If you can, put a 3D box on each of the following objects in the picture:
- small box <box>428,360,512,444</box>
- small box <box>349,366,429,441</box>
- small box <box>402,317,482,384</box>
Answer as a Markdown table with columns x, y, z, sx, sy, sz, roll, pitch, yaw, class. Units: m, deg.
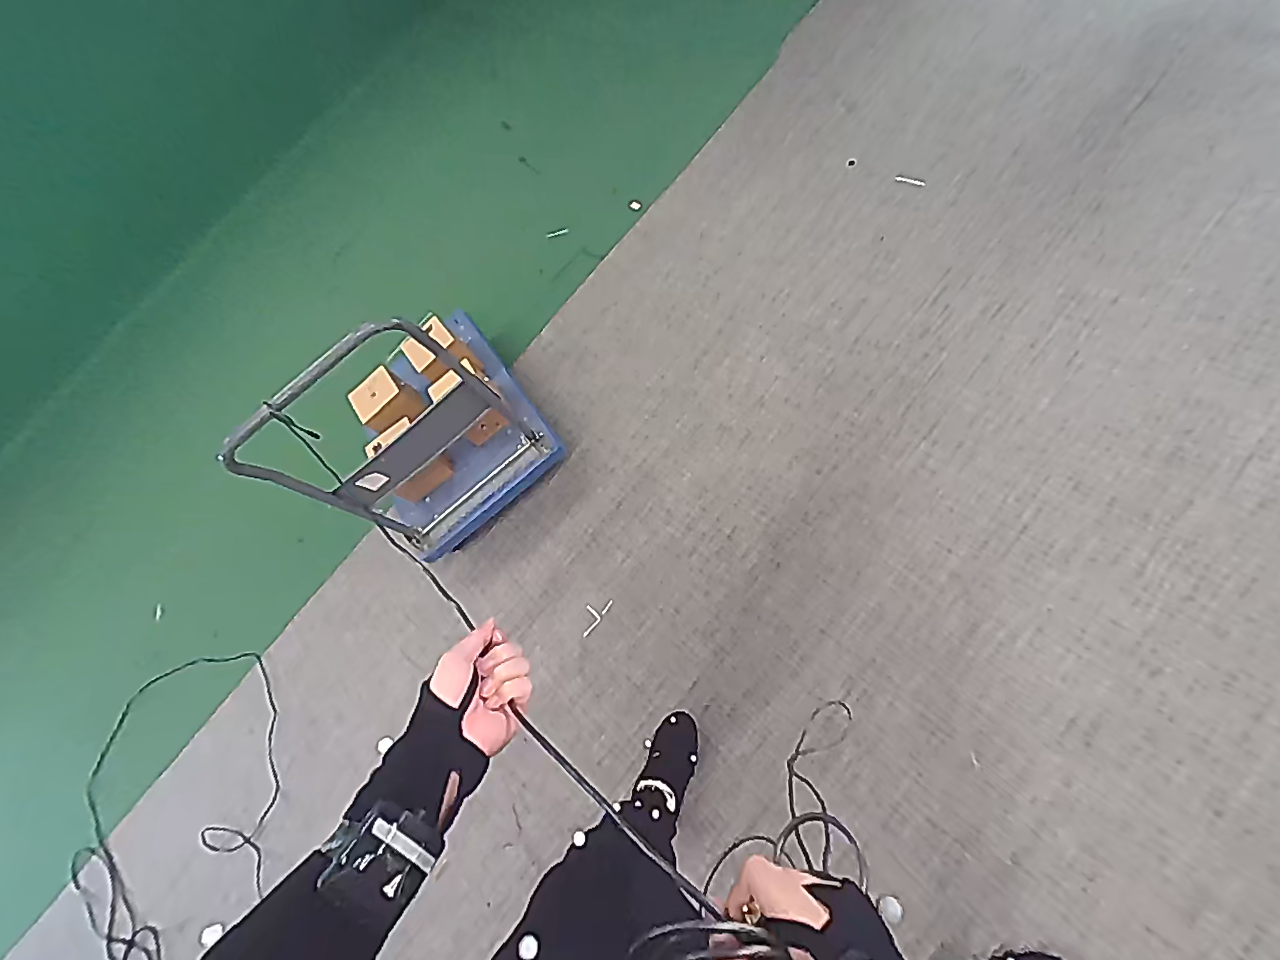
| x | y | z | sx | sy | sz | roll | pitch | yaw | class |
| --- | --- | --- | --- | --- | --- | --- | --- | --- | --- |
| -0.550 | -0.250 | 1.764 | 0.168 | 0.176 | 0.179 | -39 | 59 | 2 | small box |
| -0.878 | -0.260 | 1.904 | 0.168 | 0.176 | 0.179 | -42 | 58 | -1 | small box |
| -0.694 | -0.431 | 1.905 | 0.168 | 0.176 | 0.179 | -43 | 59 | 1 | small box |
